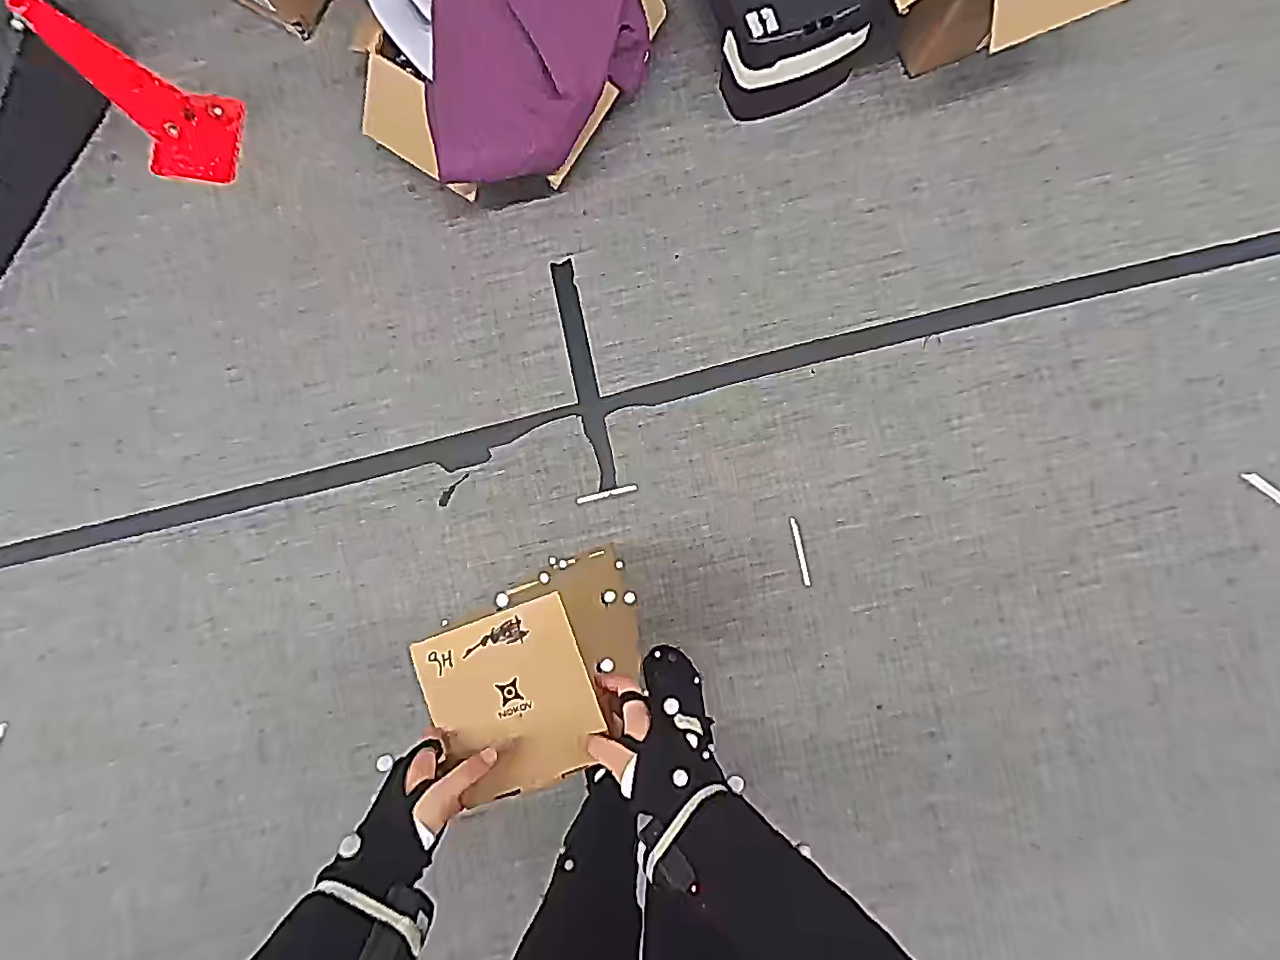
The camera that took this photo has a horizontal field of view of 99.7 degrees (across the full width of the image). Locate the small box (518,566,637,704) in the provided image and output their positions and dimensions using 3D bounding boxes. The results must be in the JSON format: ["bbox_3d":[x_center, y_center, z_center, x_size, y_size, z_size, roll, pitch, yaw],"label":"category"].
[{"bbox_3d":[-0.110,0.233,0.778,0.168,0.176,0.179,-22,88,2],"label":"small box"}]

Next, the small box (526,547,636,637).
[{"bbox_3d":[-0.113,0.244,1.107,0.168,0.176,0.179,-20,89,2],"label":"small box"}]

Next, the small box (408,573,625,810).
[{"bbox_3d":[-0.123,0.222,0.614,0.168,0.176,0.179,-20,88,2],"label":"small box"}]

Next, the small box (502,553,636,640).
[{"bbox_3d":[-0.114,0.236,0.943,0.179,0.176,0.168,-18,88,1],"label":"small box"}]
